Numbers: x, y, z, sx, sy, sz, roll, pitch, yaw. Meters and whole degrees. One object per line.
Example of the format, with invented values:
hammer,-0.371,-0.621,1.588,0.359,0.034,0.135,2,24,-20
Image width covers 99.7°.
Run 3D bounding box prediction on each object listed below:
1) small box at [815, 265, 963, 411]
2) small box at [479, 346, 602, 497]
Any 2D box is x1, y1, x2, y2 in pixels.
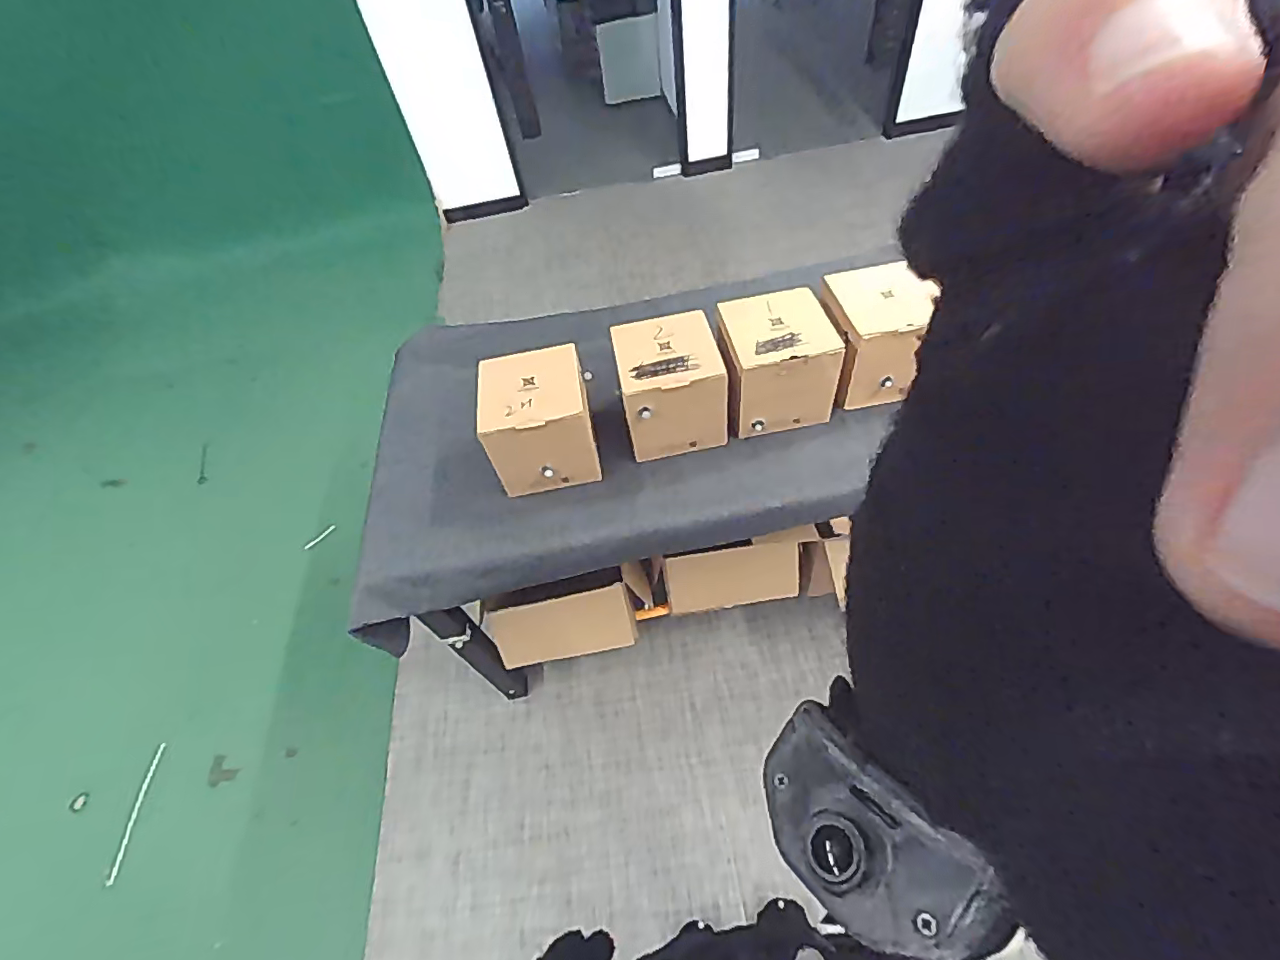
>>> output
small box,0.425,-0.250,0.961,0.168,0.176,0.179,-10,53,0
small box,-0.165,-0.098,0.924,0.168,0.176,0.179,-11,52,0
